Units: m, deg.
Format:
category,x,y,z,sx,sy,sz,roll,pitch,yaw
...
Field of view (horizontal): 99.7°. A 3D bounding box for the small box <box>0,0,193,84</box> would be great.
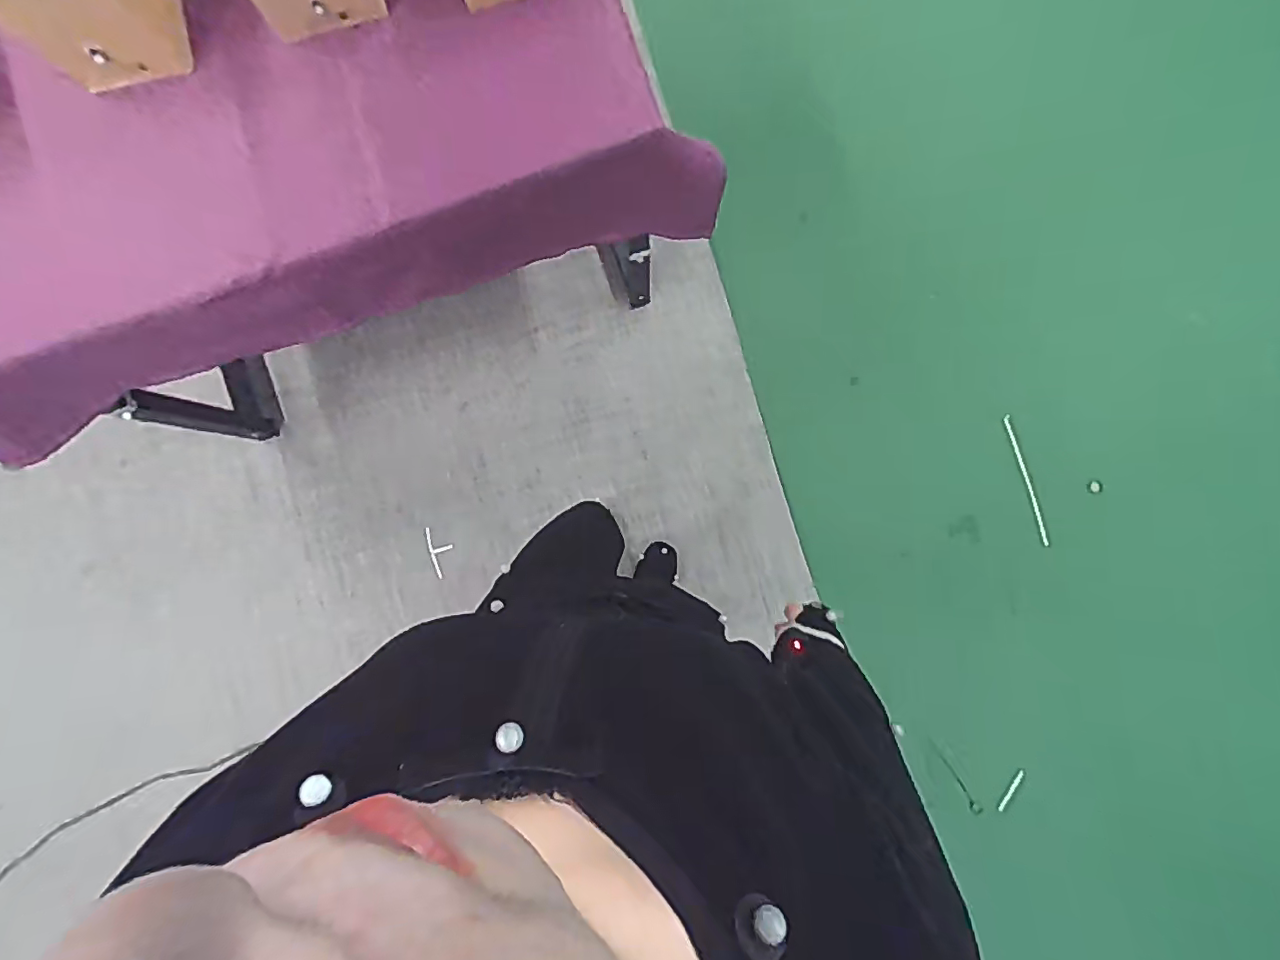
category,x,y,z,sx,sy,sz,roll,pitch,yaw
small box,-0.777,-0.707,0.752,0.168,0.176,0.179,-11,88,0
